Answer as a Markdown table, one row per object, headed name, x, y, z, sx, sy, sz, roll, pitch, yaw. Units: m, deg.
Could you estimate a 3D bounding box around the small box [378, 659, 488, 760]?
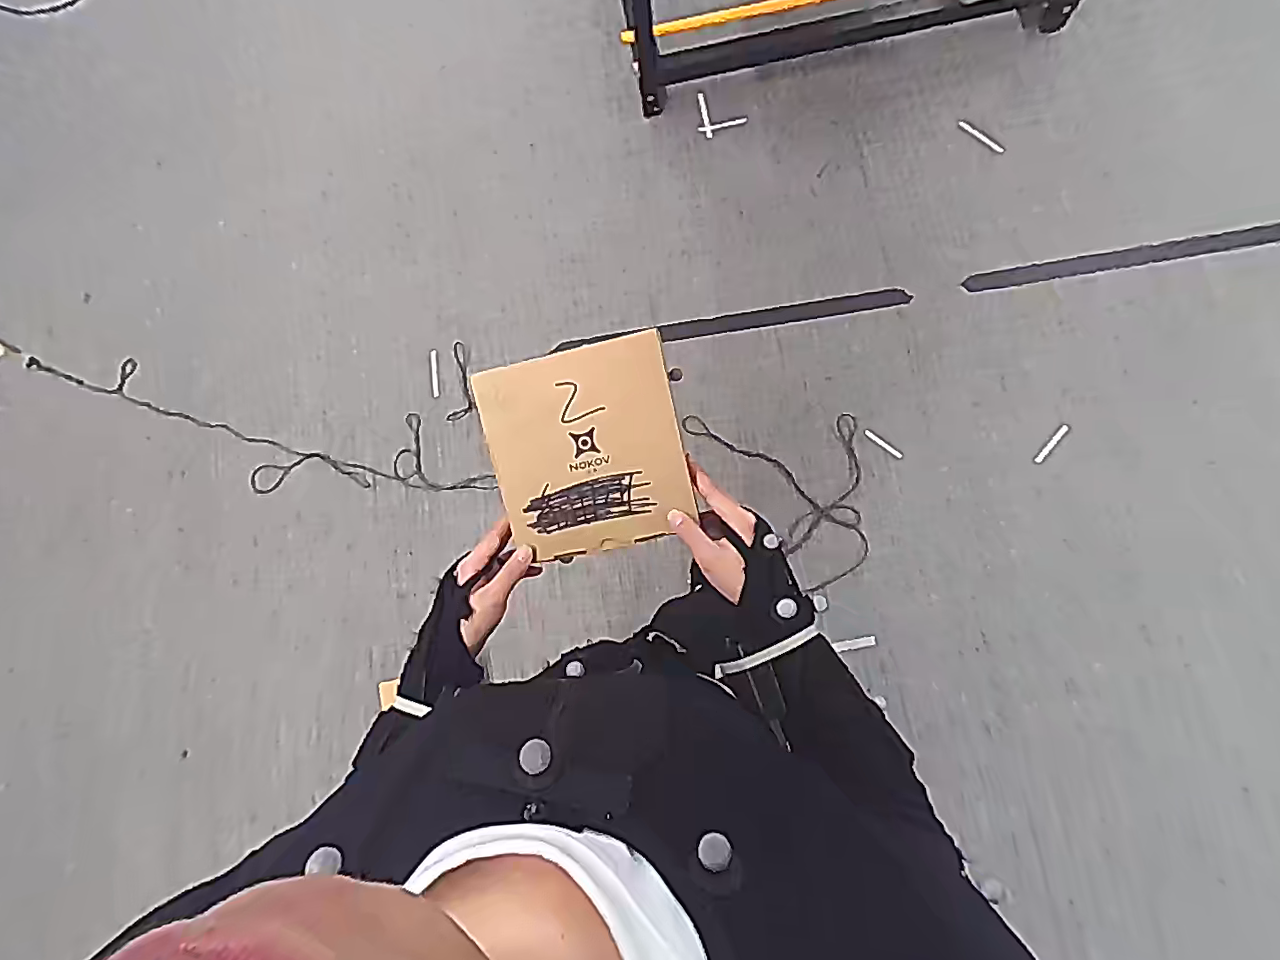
| name | x | y | z | sx | sy | sz | roll | pitch | yaw |
| --- | --- | --- | --- | --- | --- | --- | --- | --- | --- |
| small box | -0.485 | 0.536 | 1.283 | 0.179 | 0.176 | 0.168 | -15 | 80 | 2 |
